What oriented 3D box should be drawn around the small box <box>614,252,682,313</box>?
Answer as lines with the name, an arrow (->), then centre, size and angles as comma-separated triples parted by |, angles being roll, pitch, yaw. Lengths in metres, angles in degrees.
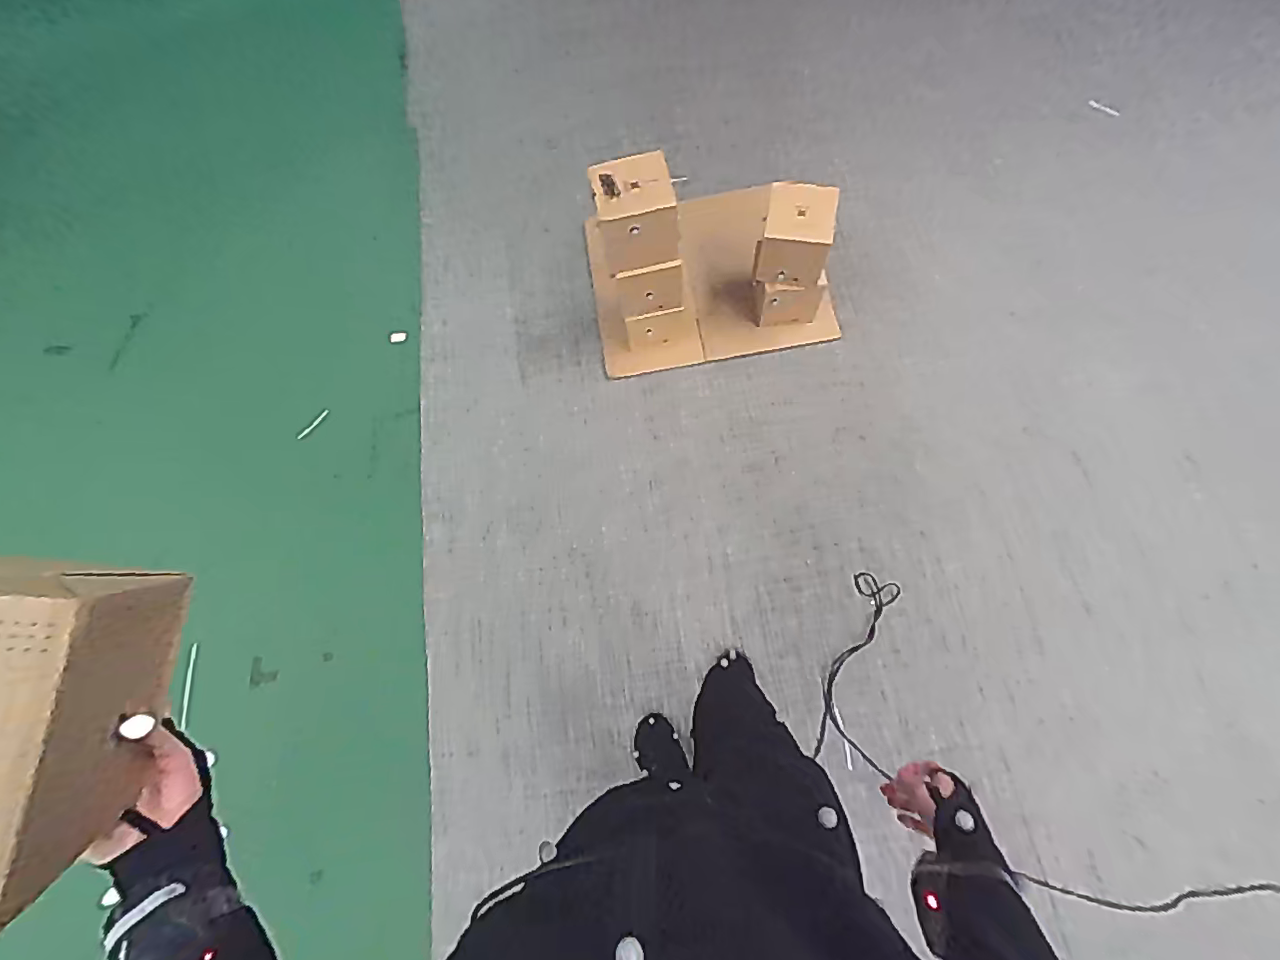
small box -> 0.015, -0.556, 1.405 | 0.168, 0.176, 0.179 | -11, 70, 1

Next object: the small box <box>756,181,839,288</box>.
small box -> 0.399, -0.627, 1.389 | 0.168, 0.176, 0.179 | 10, 73, 8

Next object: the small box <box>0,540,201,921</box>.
small box -> -0.400, 0.122, 0.319 | 0.168, 0.179, 0.176 | 12, 81, -23

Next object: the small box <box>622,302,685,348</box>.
small box -> 0.033, -0.499, 1.559 | 0.168, 0.176, 0.179 | -11, 70, 2

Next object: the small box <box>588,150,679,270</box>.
small box -> -0.011, -0.617, 1.254 | 0.179, 0.176, 0.168 | -12, 71, 1
